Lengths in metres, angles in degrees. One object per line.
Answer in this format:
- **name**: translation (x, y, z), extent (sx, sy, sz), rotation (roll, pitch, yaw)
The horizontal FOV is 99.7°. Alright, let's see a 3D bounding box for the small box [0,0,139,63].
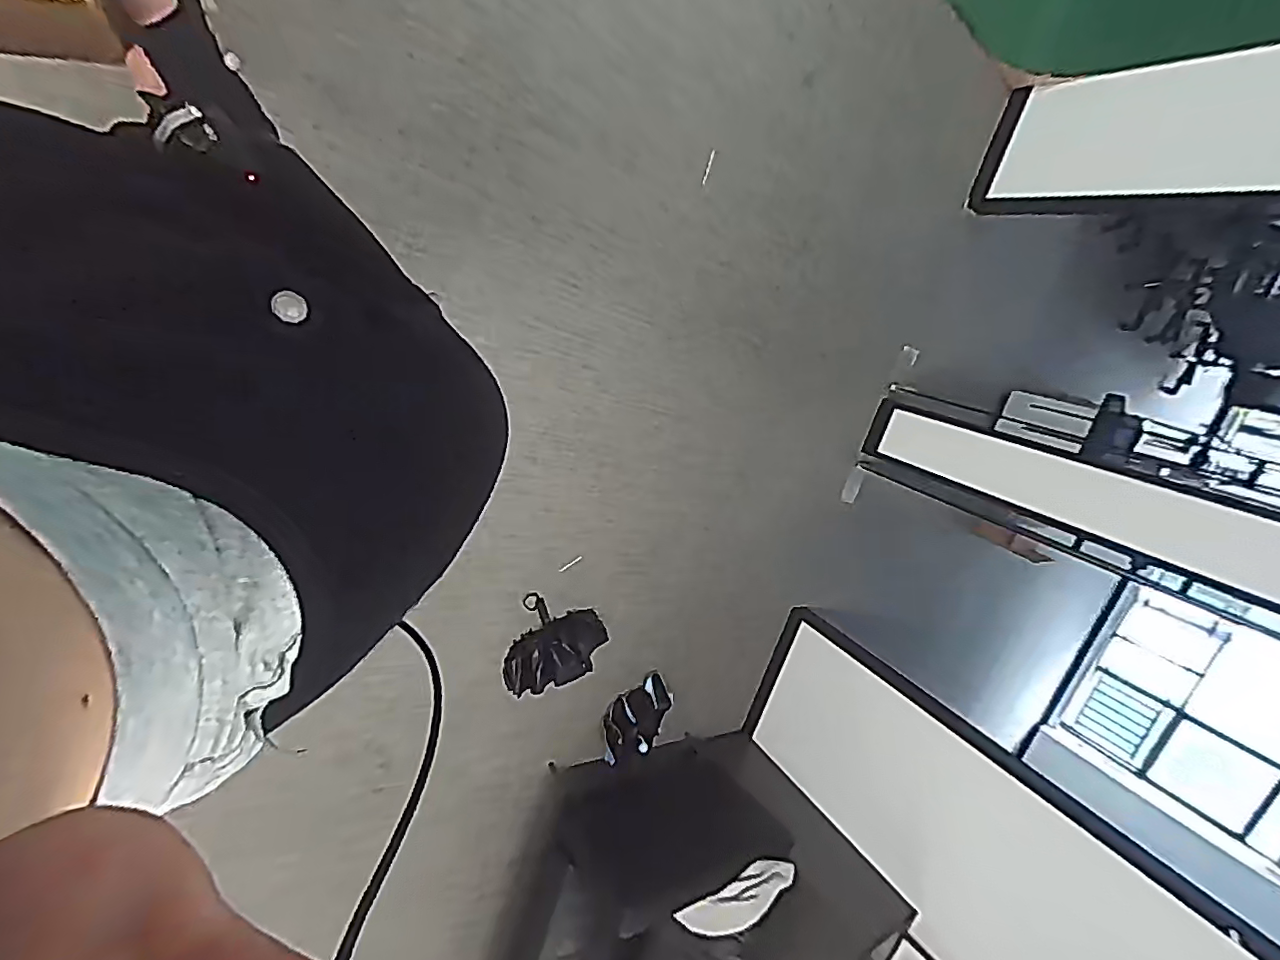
- **small box**: translation (-0.433, -0.357, 0.303), extent (0.179, 0.176, 0.168), rotation (-18, 122, -29)
